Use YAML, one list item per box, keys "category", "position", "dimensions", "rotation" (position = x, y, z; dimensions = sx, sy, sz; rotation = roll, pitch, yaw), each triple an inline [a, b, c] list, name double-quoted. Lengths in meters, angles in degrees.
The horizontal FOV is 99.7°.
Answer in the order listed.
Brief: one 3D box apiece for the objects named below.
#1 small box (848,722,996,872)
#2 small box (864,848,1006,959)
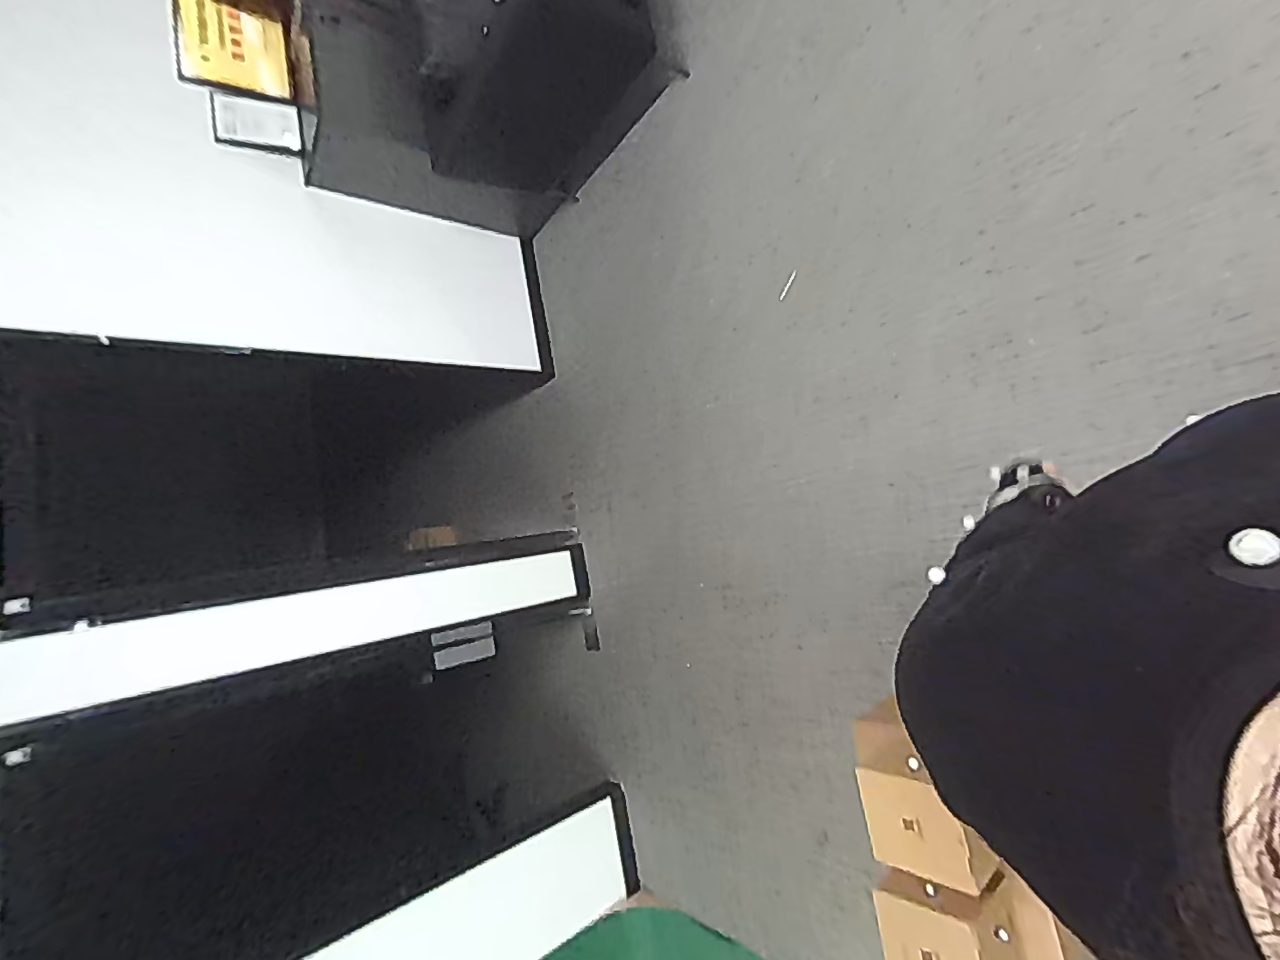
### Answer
- category: "small box"
  position: [0.522, 0.570, 1.004]
  dimensions: [0.179, 0.176, 0.168]
  rotation: [-16, 83, 49]
- category: "small box"
  position: [0.549, 0.791, 0.998]
  dimensions: [0.179, 0.176, 0.168]
  rotation: [-16, 79, 48]
